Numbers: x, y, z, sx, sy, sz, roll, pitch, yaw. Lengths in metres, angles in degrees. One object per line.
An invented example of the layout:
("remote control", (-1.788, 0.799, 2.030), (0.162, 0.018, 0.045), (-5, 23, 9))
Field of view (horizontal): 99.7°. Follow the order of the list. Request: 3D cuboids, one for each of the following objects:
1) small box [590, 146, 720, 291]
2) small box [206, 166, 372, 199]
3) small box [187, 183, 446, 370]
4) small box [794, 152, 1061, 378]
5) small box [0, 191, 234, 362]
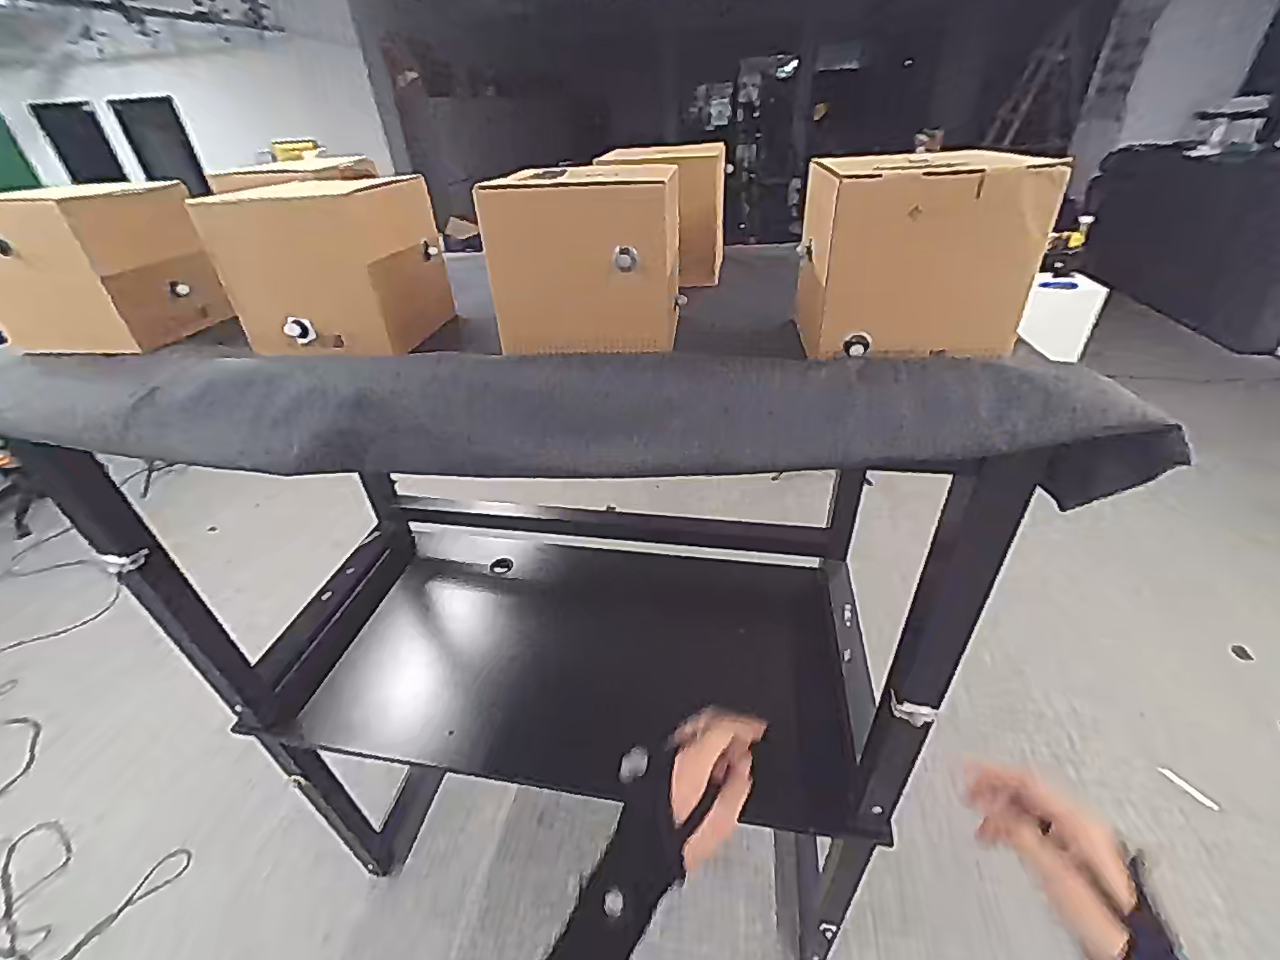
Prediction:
("small box", (0.033, -0.387, 0.805), (0.168, 0.176, 0.179), (2, 35, 9))
("small box", (-0.538, -0.410, 0.890), (0.179, 0.176, 0.168), (3, 35, 7))
("small box", (-0.342, -0.235, 0.619), (0.168, 0.176, 0.179), (0, 34, 7))
("small box", (0.246, -0.205, 0.517), (0.168, 0.176, 0.179), (1, 34, 8))
("small box", (-0.669, -0.253, 0.670), (0.179, 0.176, 0.168), (2, 34, 6))
